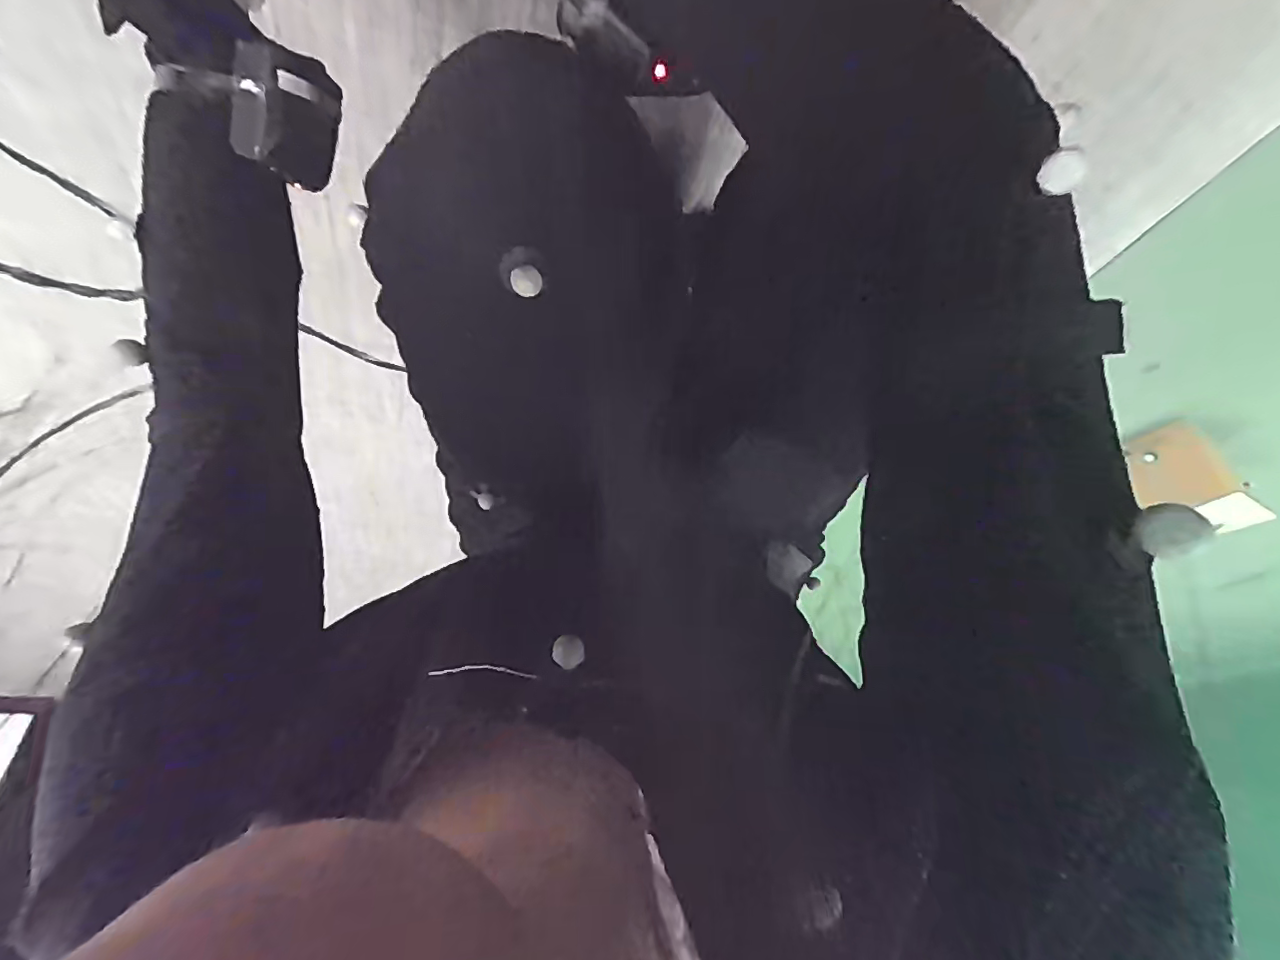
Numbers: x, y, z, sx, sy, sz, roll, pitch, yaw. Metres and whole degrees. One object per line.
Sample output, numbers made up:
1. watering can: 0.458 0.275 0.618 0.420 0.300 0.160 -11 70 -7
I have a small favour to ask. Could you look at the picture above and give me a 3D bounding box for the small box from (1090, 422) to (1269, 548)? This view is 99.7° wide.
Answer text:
1. small box: 1.034 0.011 1.048 0.179 0.176 0.168 17 142 -26
